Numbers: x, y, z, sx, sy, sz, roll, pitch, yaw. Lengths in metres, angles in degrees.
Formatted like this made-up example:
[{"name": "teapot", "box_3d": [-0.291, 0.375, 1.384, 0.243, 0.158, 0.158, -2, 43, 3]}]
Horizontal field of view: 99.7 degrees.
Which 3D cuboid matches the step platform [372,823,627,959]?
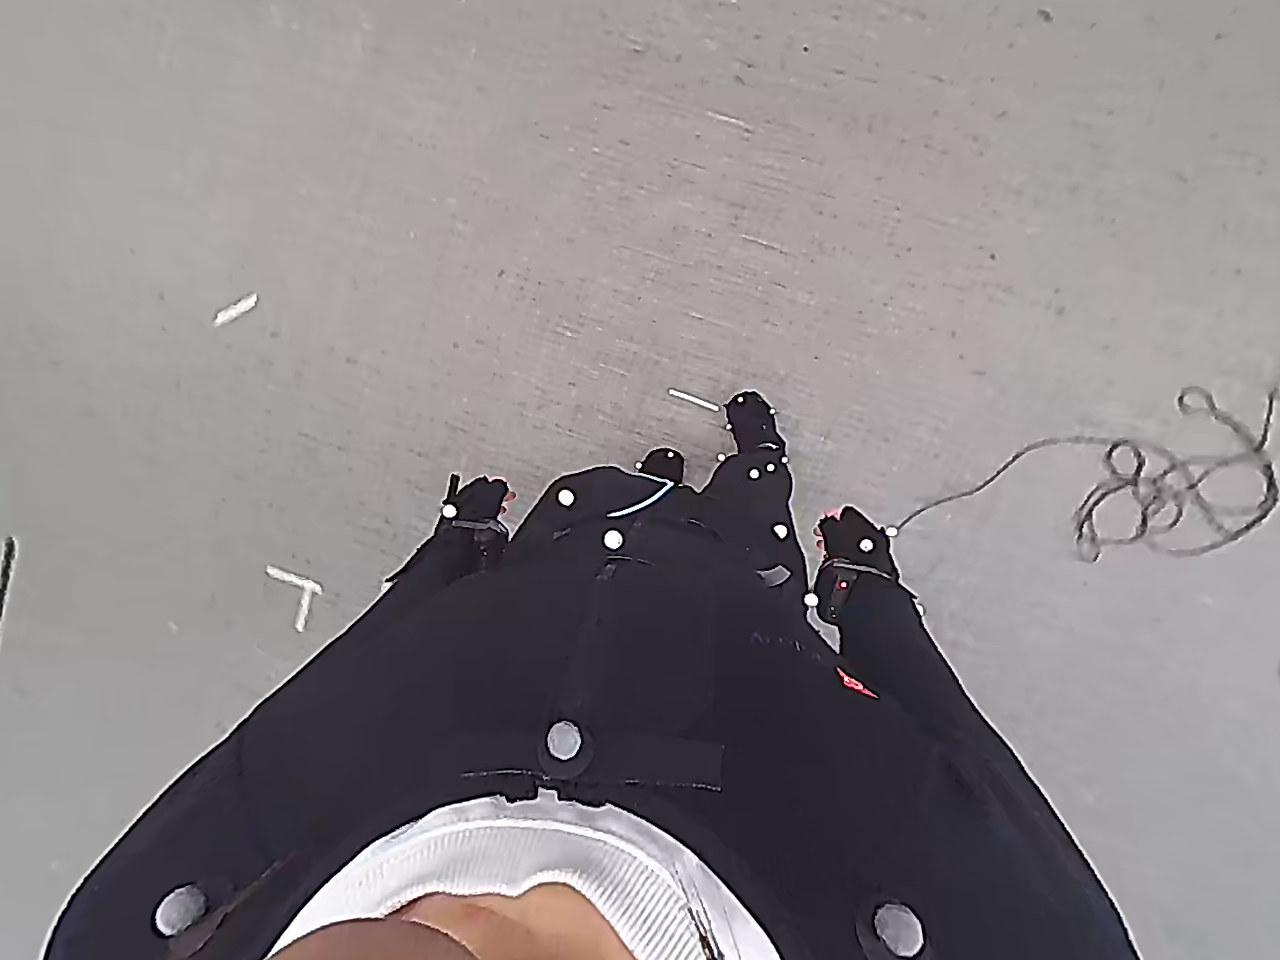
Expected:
[{"name": "step platform", "box_3d": [-0.392, 1.267, 1.524, 0.684, 0.204, 0.286, 20, 97, 6]}]
